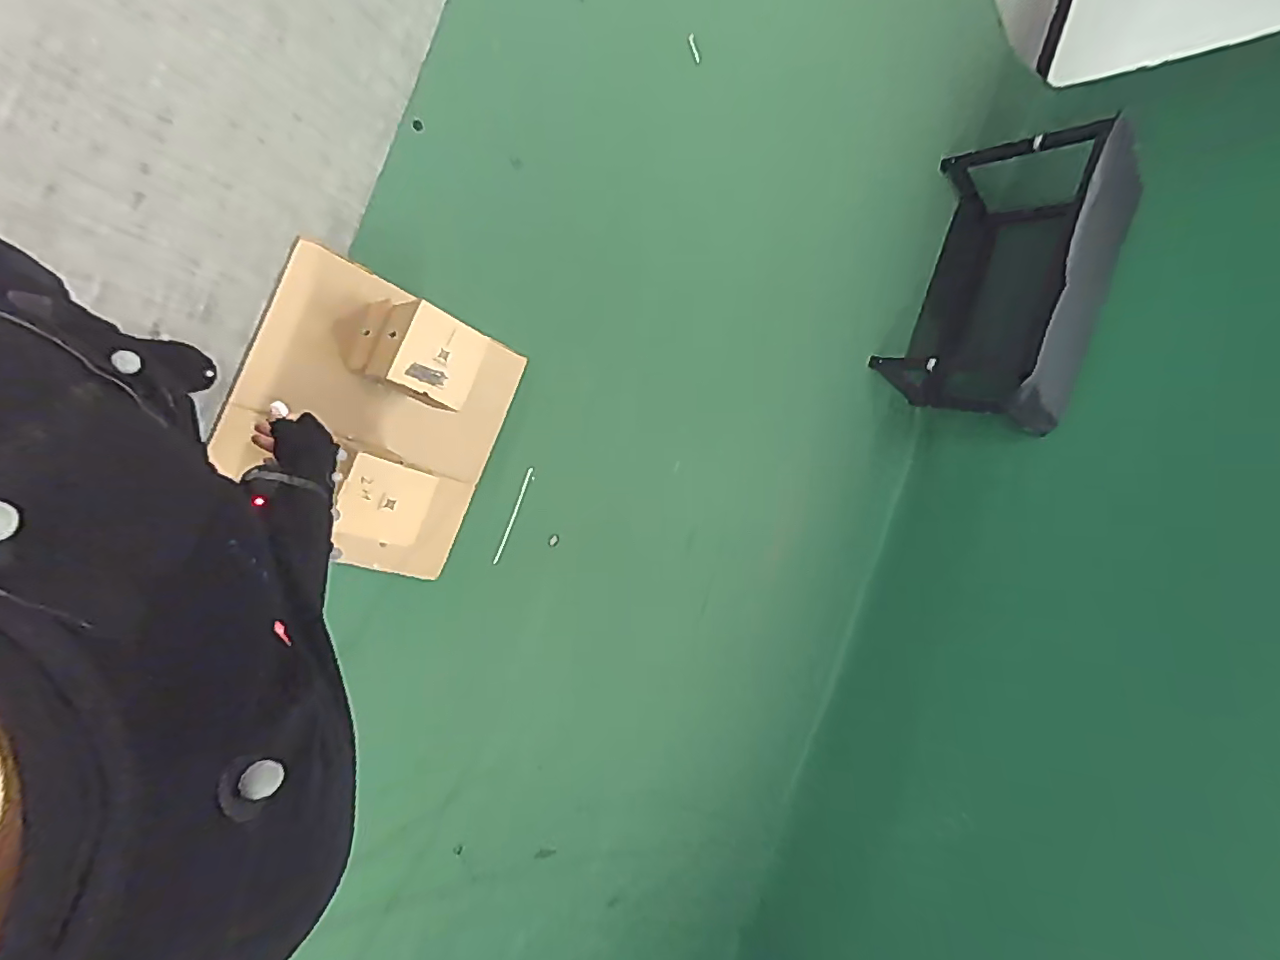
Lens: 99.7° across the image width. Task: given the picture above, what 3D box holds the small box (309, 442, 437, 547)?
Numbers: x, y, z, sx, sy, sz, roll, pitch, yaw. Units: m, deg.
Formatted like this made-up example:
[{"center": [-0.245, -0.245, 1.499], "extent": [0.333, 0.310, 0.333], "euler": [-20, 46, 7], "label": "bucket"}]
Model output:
[{"center": [-0.574, 0.027, 1.160], "extent": [0.179, 0.176, 0.168], "euler": [25, 85, -42], "label": "small box"}]

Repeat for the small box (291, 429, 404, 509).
[{"center": [-0.689, -0.011, 1.274], "extent": [0.179, 0.176, 0.168], "euler": [22, 87, -42], "label": "small box"}]

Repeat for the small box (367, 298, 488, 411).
[{"center": [-0.466, -0.267, 1.170], "extent": [0.168, 0.176, 0.179], "euler": [28, 81, -42], "label": "small box"}]
